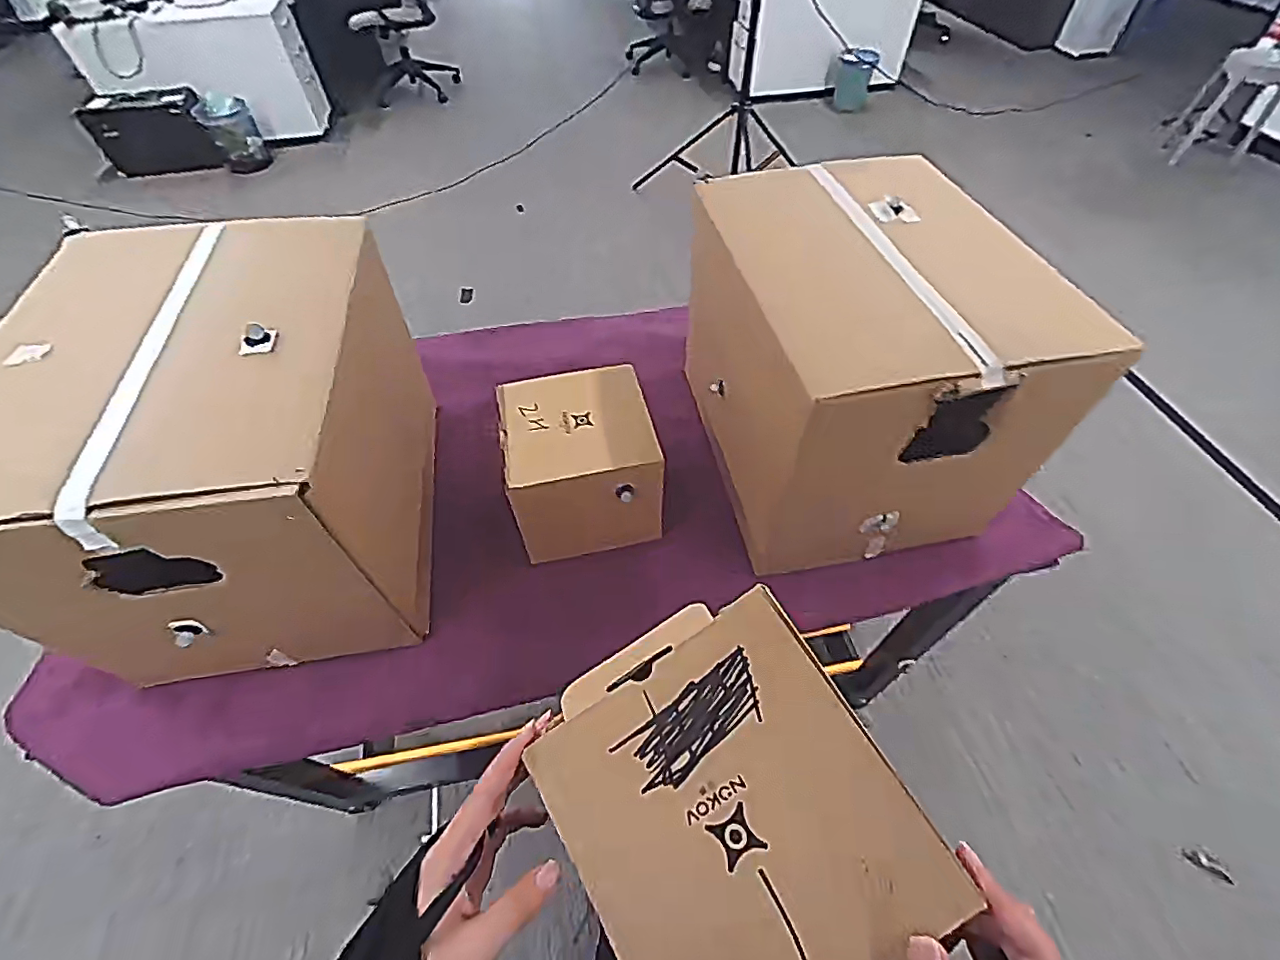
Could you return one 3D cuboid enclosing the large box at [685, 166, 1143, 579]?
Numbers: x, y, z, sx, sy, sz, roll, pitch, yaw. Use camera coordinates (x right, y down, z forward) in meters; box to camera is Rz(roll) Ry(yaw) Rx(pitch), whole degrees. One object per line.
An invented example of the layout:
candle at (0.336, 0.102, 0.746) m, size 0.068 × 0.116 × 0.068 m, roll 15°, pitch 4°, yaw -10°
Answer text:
large box at (0.256, -0.142, 0.689) m, size 0.320 × 0.320 × 0.408 m, roll -9°, pitch 52°, yaw -7°
